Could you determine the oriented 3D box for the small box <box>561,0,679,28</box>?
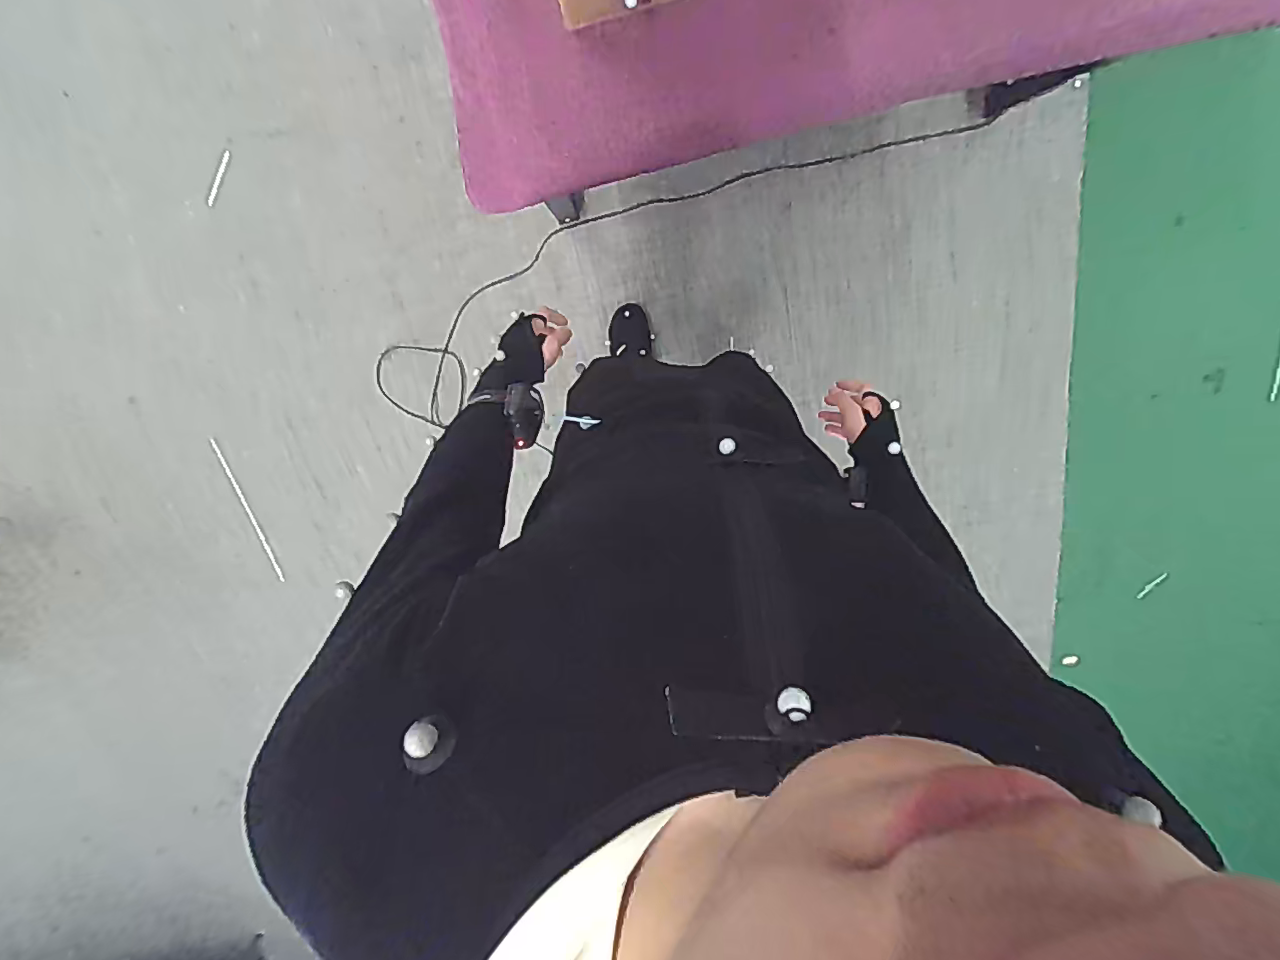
[{"bbox_3d":[-0.029,-0.644,0.580,0.168,0.176,0.179,-15,109,2],"label":"small box"}]
